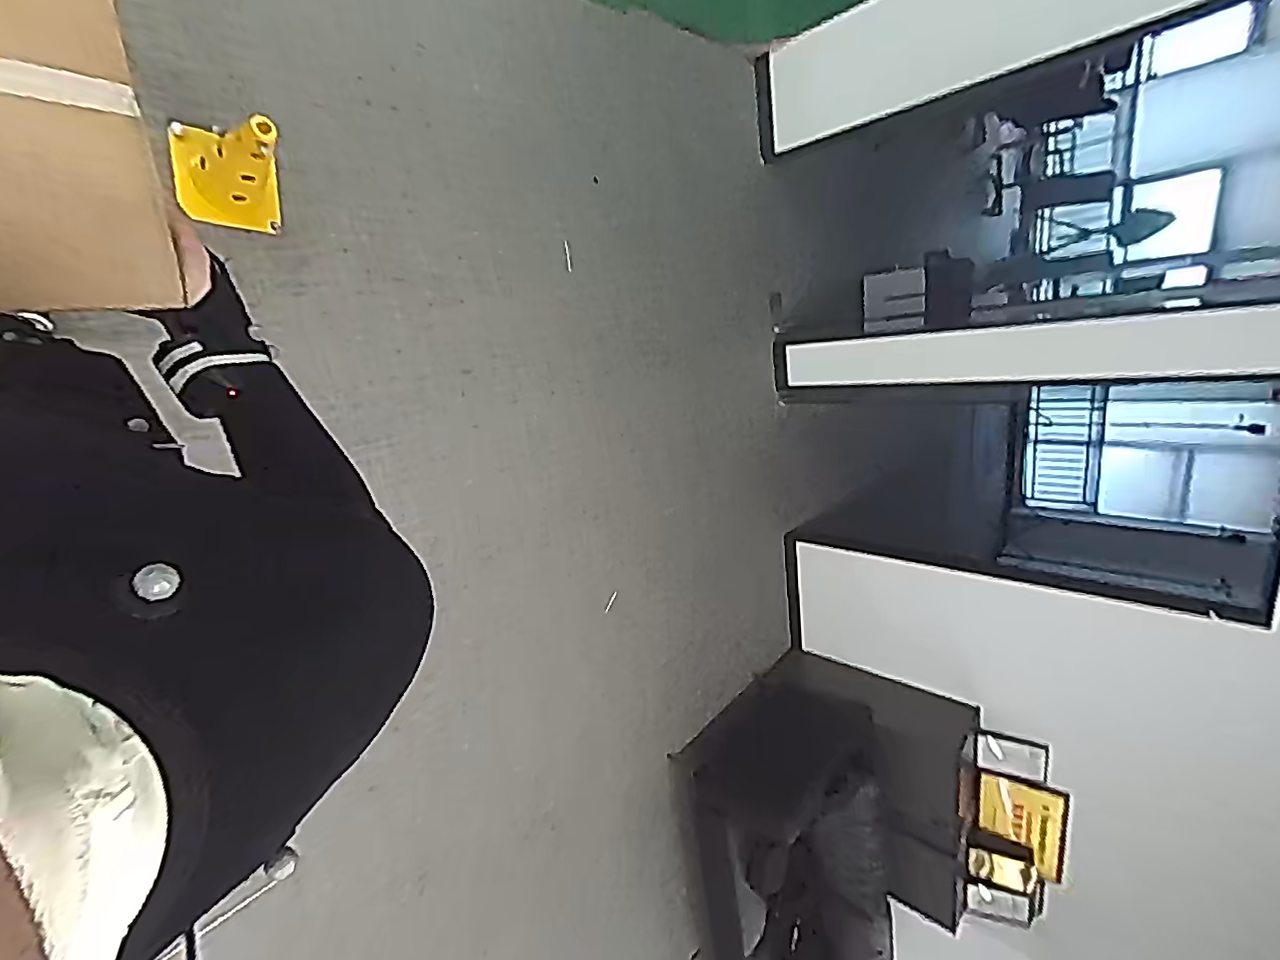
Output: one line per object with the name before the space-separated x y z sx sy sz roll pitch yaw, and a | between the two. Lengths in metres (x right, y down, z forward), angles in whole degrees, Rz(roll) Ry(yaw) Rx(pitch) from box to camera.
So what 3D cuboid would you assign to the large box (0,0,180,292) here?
large box | -0.640 -0.302 0.355 0.408 0.320 0.320 -26 129 -50
